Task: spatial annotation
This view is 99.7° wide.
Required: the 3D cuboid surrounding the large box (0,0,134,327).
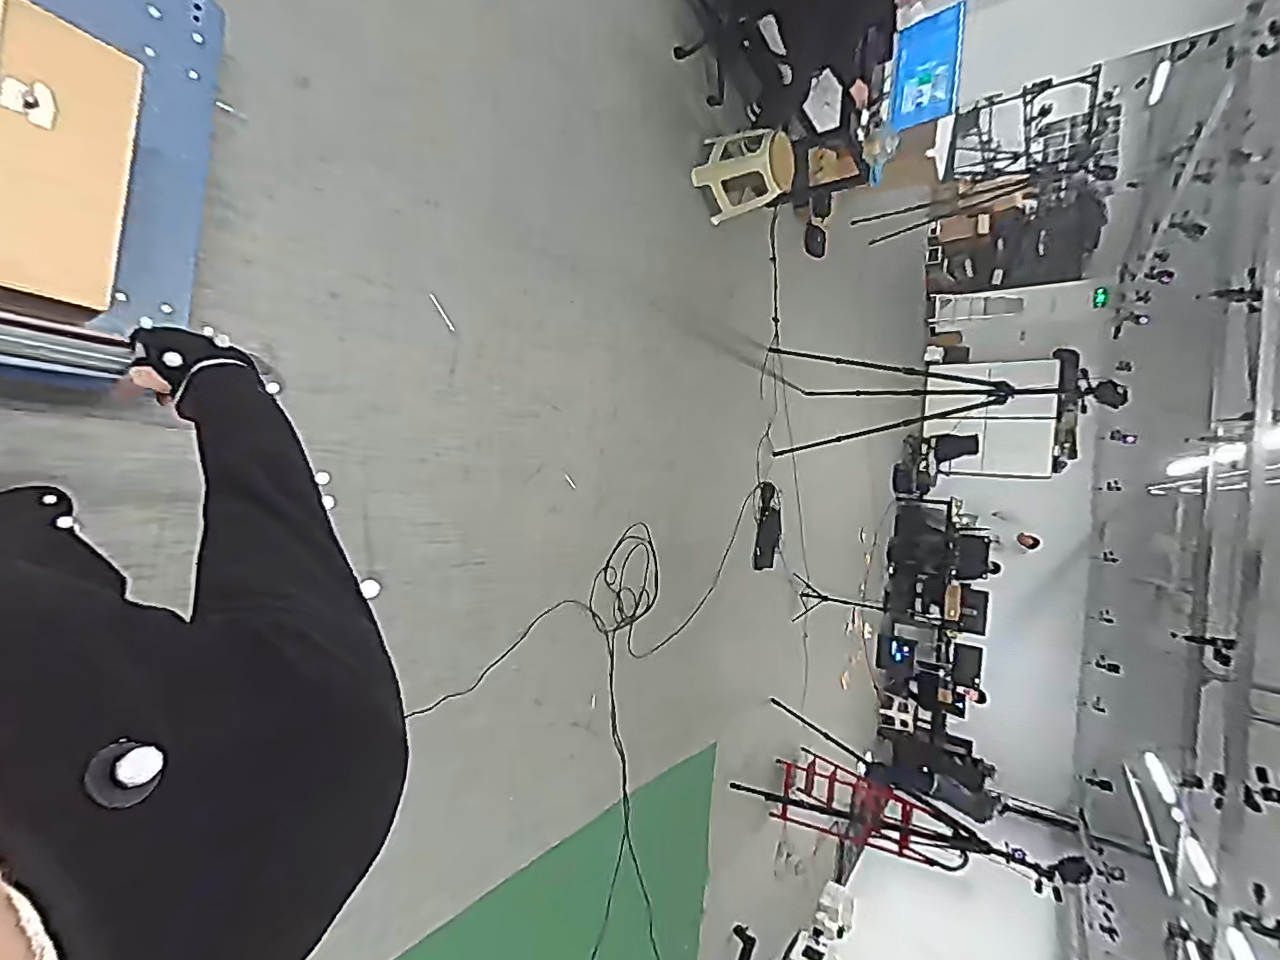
[{"bbox_3d":[-1.022,-0.485,0.818,0.320,0.320,0.408,7,87,-54],"label":"large box"}]
